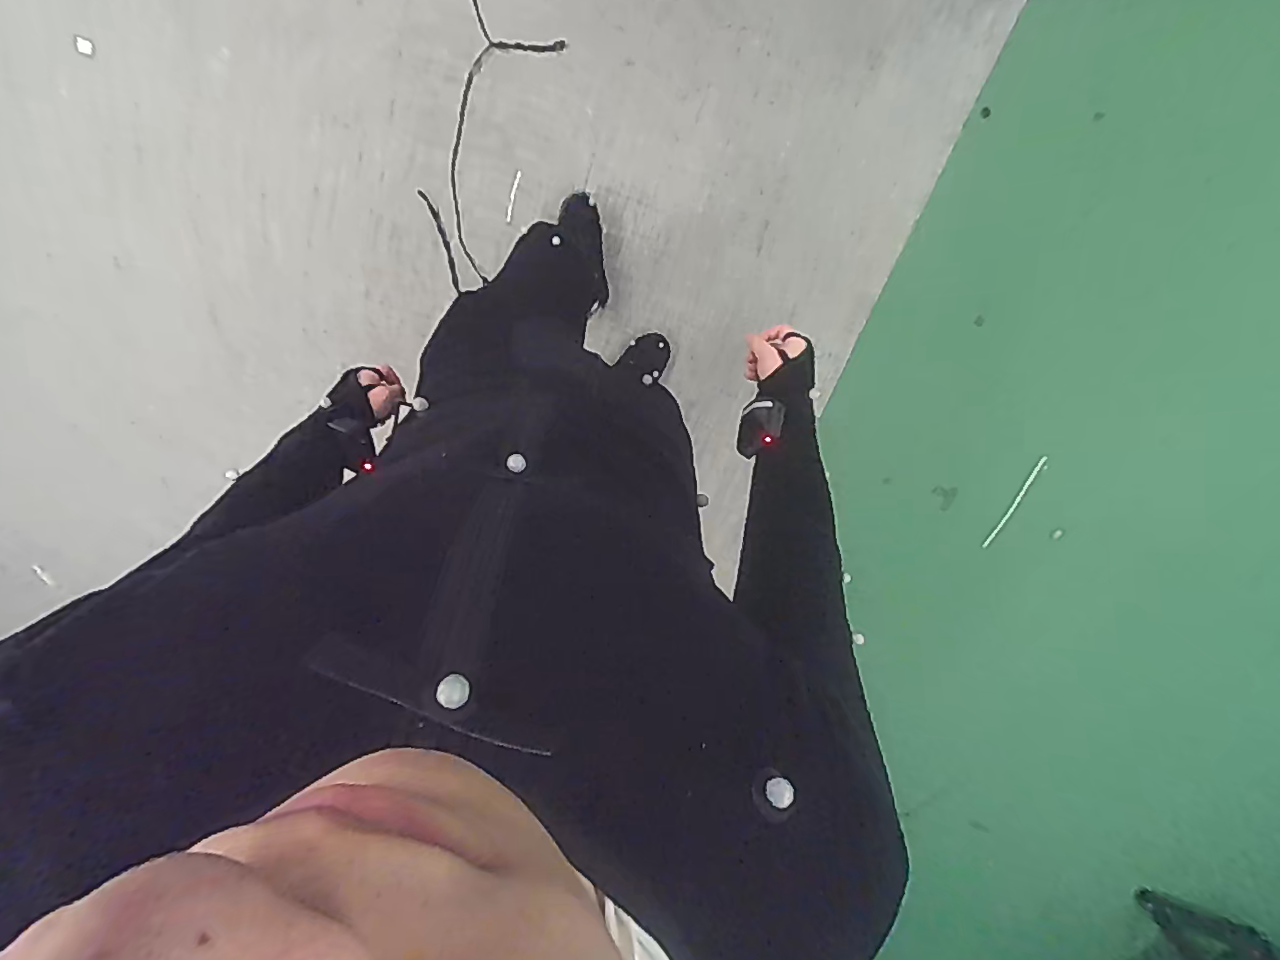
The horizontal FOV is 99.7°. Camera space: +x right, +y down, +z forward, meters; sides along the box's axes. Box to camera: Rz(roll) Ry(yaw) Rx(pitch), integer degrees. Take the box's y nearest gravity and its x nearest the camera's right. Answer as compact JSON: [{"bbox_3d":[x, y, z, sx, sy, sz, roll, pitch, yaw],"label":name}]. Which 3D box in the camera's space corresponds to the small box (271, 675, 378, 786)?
[{"bbox_3d":[-0.816,0.646,1.412,0.168,0.176,0.179,24,110,-6],"label":"small box"}]

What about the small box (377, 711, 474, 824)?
[{"bbox_3d":[-0.564,0.762,1.441,0.168,0.176,0.179,26,110,-8],"label":"small box"}]
